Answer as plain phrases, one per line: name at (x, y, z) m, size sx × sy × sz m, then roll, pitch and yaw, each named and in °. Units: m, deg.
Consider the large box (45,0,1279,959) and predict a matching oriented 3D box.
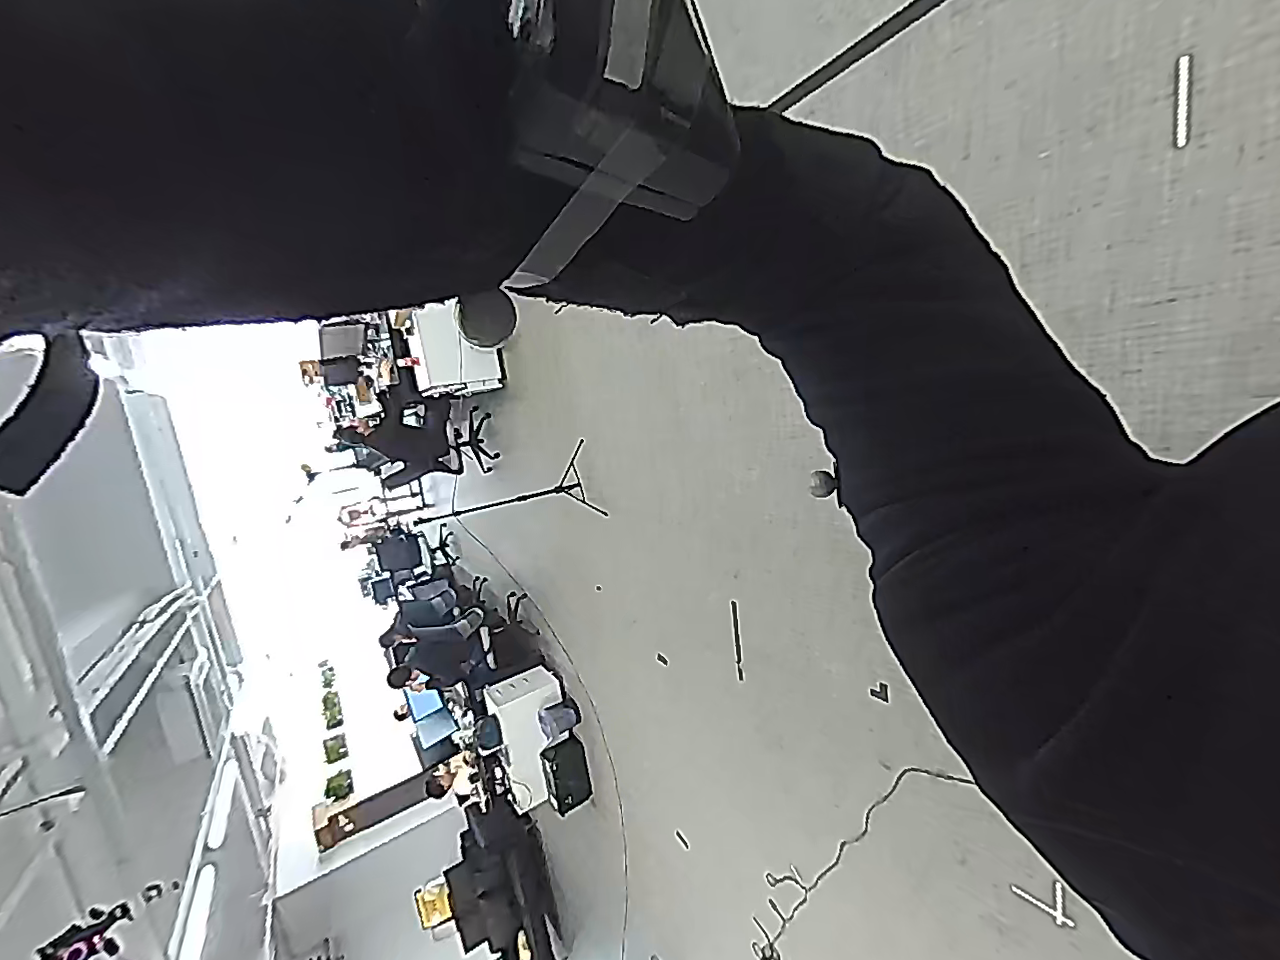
large box at (0.112, 0.068, 0.152) m, size 0.408 × 0.320 × 0.320 m, roll 12°, pitch -119°, yaw 52°
